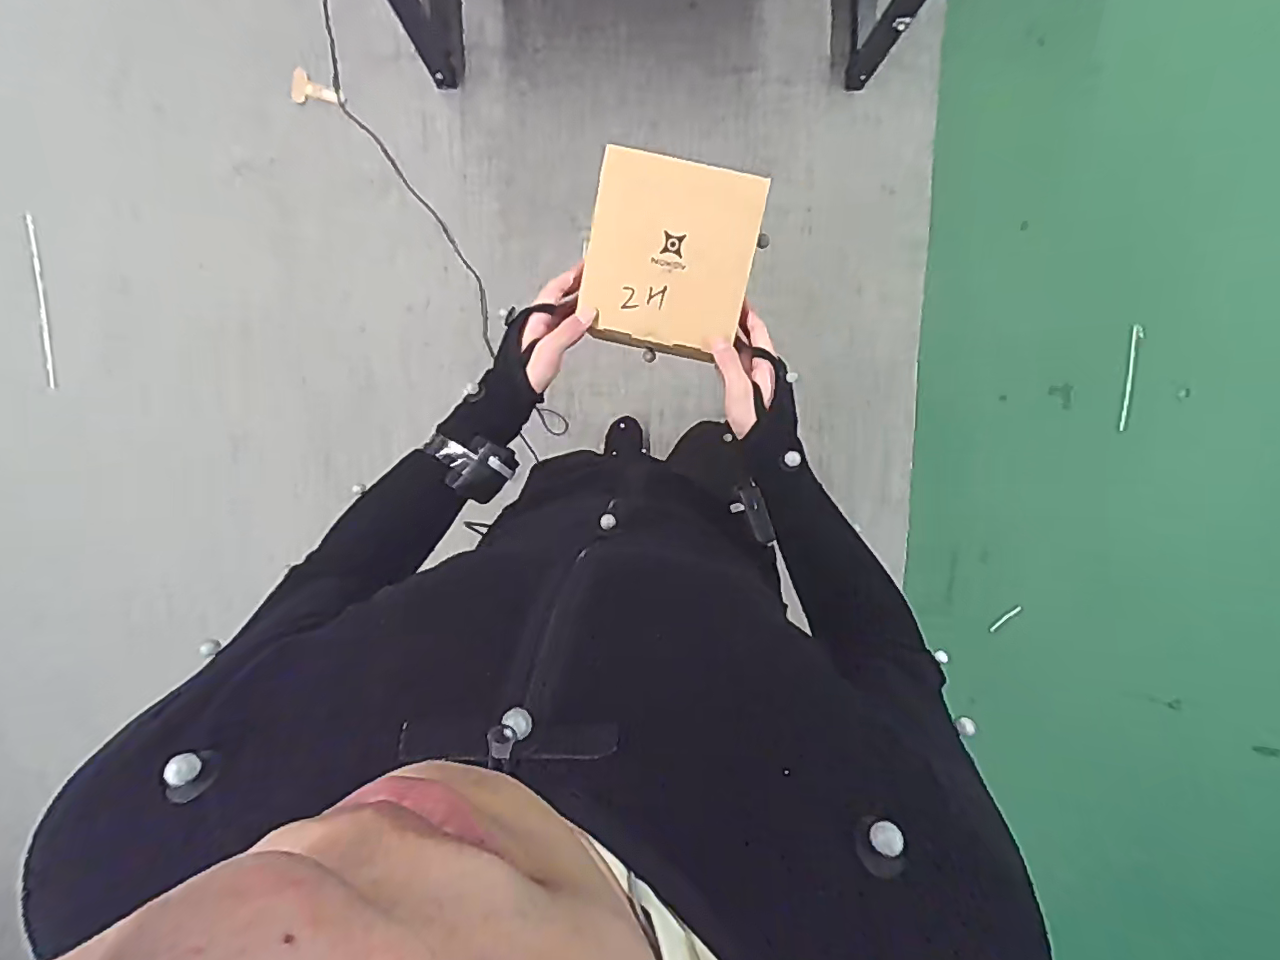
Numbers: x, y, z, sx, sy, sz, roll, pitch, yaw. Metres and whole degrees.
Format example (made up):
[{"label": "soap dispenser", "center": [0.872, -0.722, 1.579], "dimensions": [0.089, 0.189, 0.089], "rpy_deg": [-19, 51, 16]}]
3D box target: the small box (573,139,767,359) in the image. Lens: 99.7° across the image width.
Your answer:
[{"label": "small box", "center": [0.029, -0.243, 0.616], "dimensions": [0.168, 0.176, 0.179], "rpy_deg": [12, 100, 0]}]
